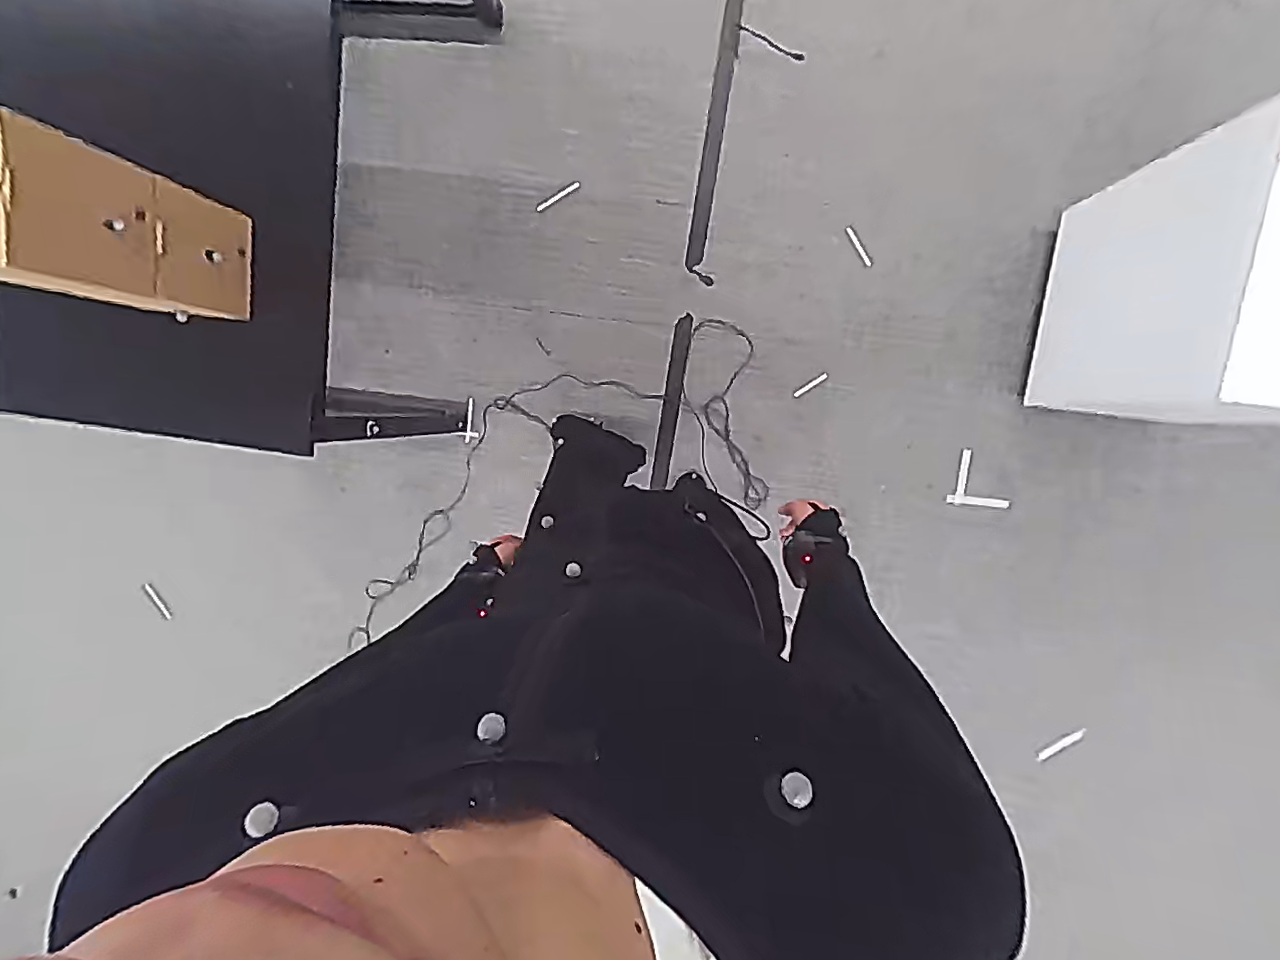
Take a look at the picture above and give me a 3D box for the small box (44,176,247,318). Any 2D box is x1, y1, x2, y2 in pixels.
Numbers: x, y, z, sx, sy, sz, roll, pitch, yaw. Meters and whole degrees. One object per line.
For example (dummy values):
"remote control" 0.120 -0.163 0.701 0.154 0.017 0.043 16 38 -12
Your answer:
"small box" -0.740 -0.348 0.822 0.179 0.176 0.168 6 97 4

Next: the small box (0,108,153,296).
"small box" -0.755 -0.329 0.659 0.179 0.176 0.168 7 98 4
